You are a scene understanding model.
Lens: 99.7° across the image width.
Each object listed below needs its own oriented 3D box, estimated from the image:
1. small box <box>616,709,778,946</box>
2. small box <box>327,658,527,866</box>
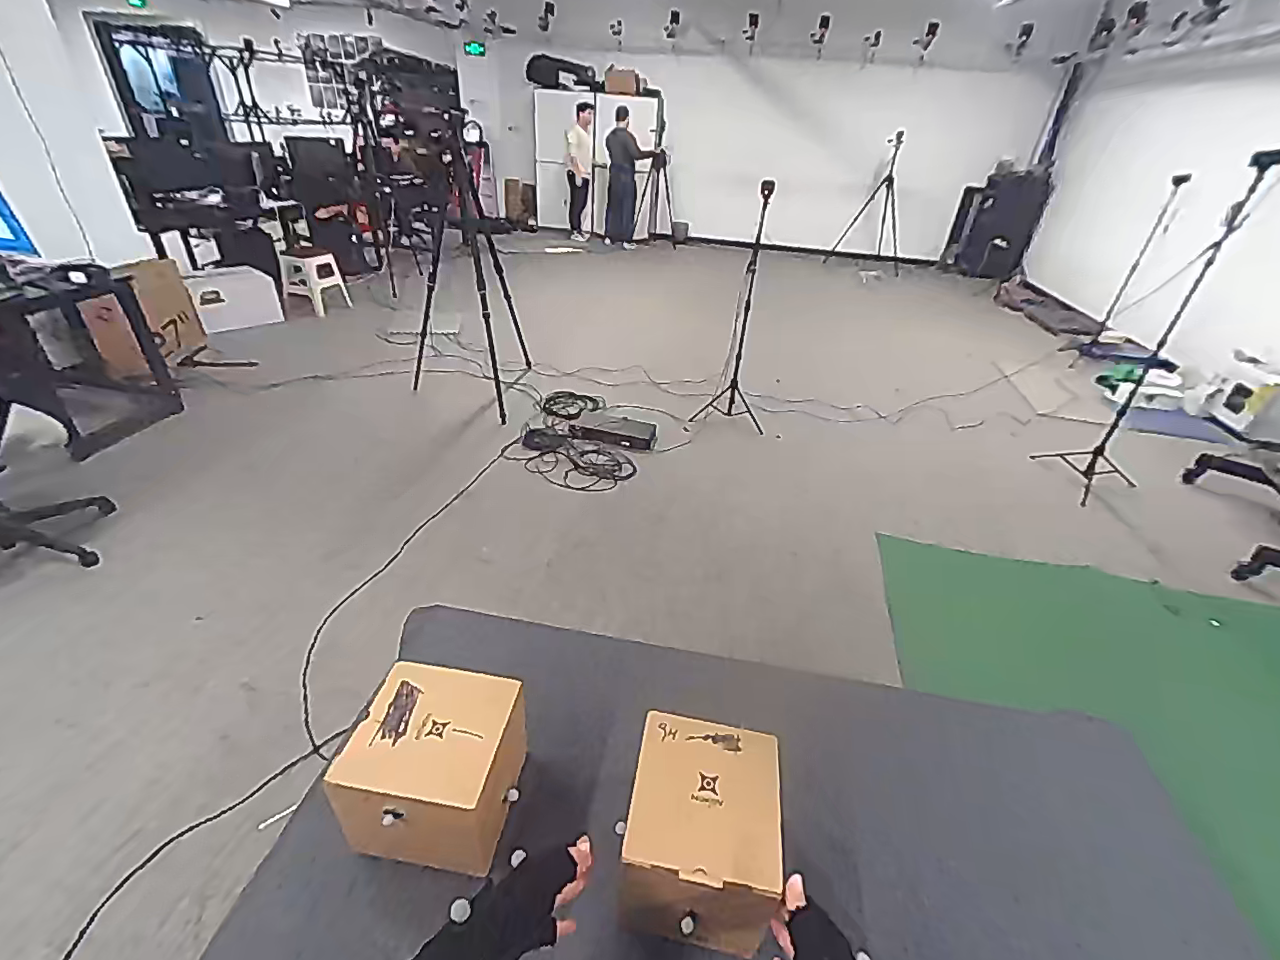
[{"bbox_3d":[0.069,0.417,0.654,0.168,0.176,0.179,9,34,7],"label":"small box"},{"bbox_3d":[-0.255,0.361,0.695,0.179,0.176,0.168,9,34,4],"label":"small box"}]
